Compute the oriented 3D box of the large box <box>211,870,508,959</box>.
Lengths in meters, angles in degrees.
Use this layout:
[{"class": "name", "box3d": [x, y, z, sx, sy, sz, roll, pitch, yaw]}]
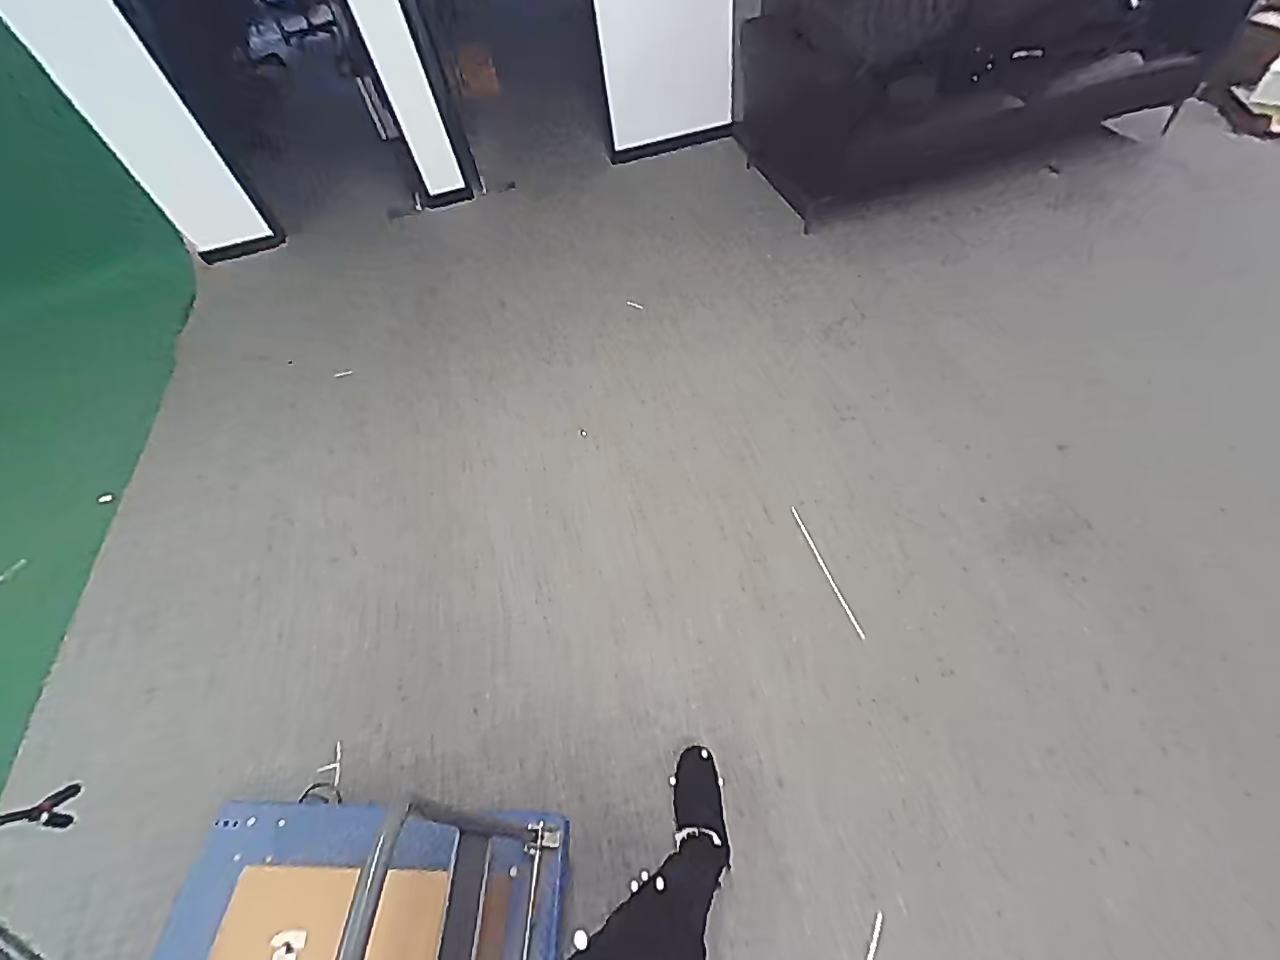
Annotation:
[{"class": "large box", "box3d": [-0.492, 0.895, 0.970, 0.408, 0.320, 0.320, -3, 53, 7]}]
